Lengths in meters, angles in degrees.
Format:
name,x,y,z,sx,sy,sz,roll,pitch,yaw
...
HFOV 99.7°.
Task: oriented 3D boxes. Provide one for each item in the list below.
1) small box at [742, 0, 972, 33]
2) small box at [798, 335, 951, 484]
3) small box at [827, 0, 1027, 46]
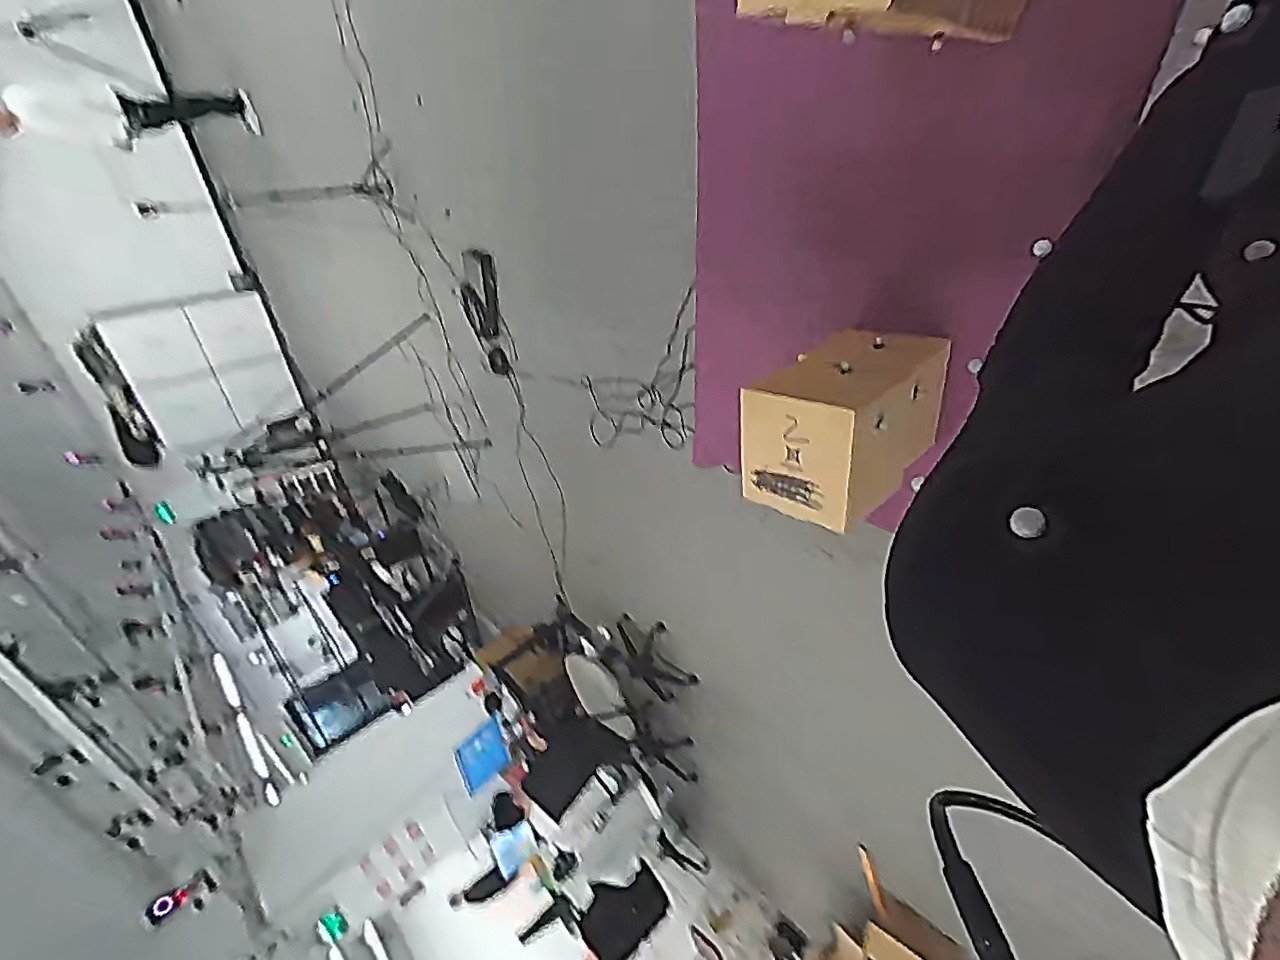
name,x,y,z,sx,sy,sz,roll,pitch,yaw
small box,0.219,-0.524,0.494,0.168,0.176,0.179,34,138,33
small box,0.375,-0.124,0.867,0.168,0.176,0.179,23,131,42
small box,0.335,-0.591,0.587,0.168,0.176,0.179,36,138,31
